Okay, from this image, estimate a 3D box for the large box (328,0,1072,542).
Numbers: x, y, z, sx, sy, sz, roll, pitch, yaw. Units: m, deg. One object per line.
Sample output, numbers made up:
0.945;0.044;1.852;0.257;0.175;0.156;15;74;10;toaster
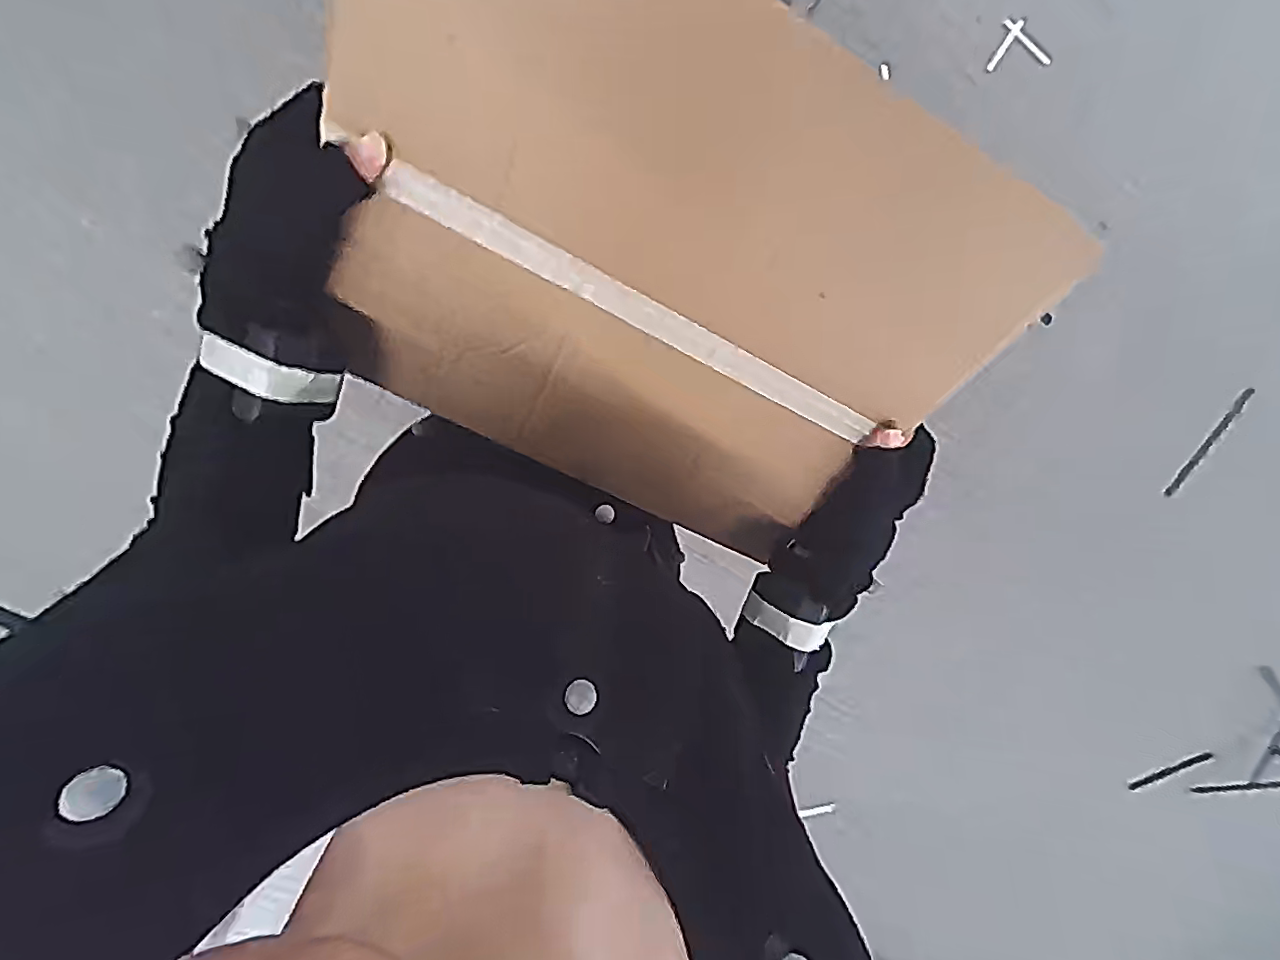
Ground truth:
0.023;-0.213;0.466;0.408;0.320;0.320;25;130;-13;large box
